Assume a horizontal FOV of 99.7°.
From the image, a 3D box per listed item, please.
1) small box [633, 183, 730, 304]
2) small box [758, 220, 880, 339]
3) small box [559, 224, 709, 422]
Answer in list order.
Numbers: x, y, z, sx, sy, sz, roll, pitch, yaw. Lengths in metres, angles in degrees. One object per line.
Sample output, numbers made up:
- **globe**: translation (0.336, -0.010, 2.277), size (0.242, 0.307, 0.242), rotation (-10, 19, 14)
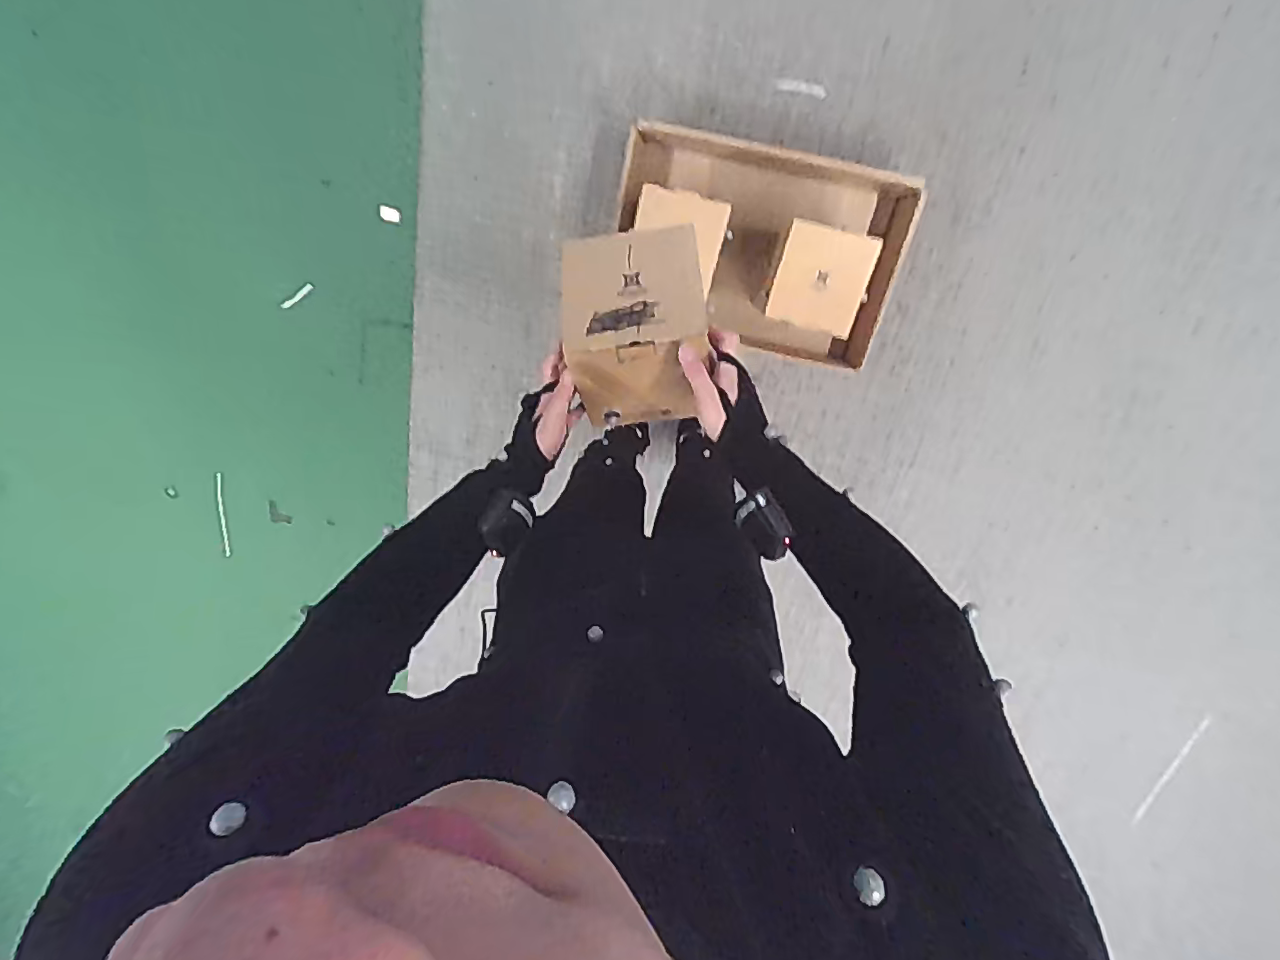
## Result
- **small box**: translation (0.071, -0.462, 1.071), size (0.168, 0.176, 0.179), rotation (15, 112, 1)
- **small box**: translation (0.339, -0.394, 1.067), size (0.168, 0.176, 0.179), rotation (15, 113, 1)
- **small box**: translation (-0.003, -0.187, 0.692), size (0.168, 0.176, 0.179), rotation (-7, 66, 4)
